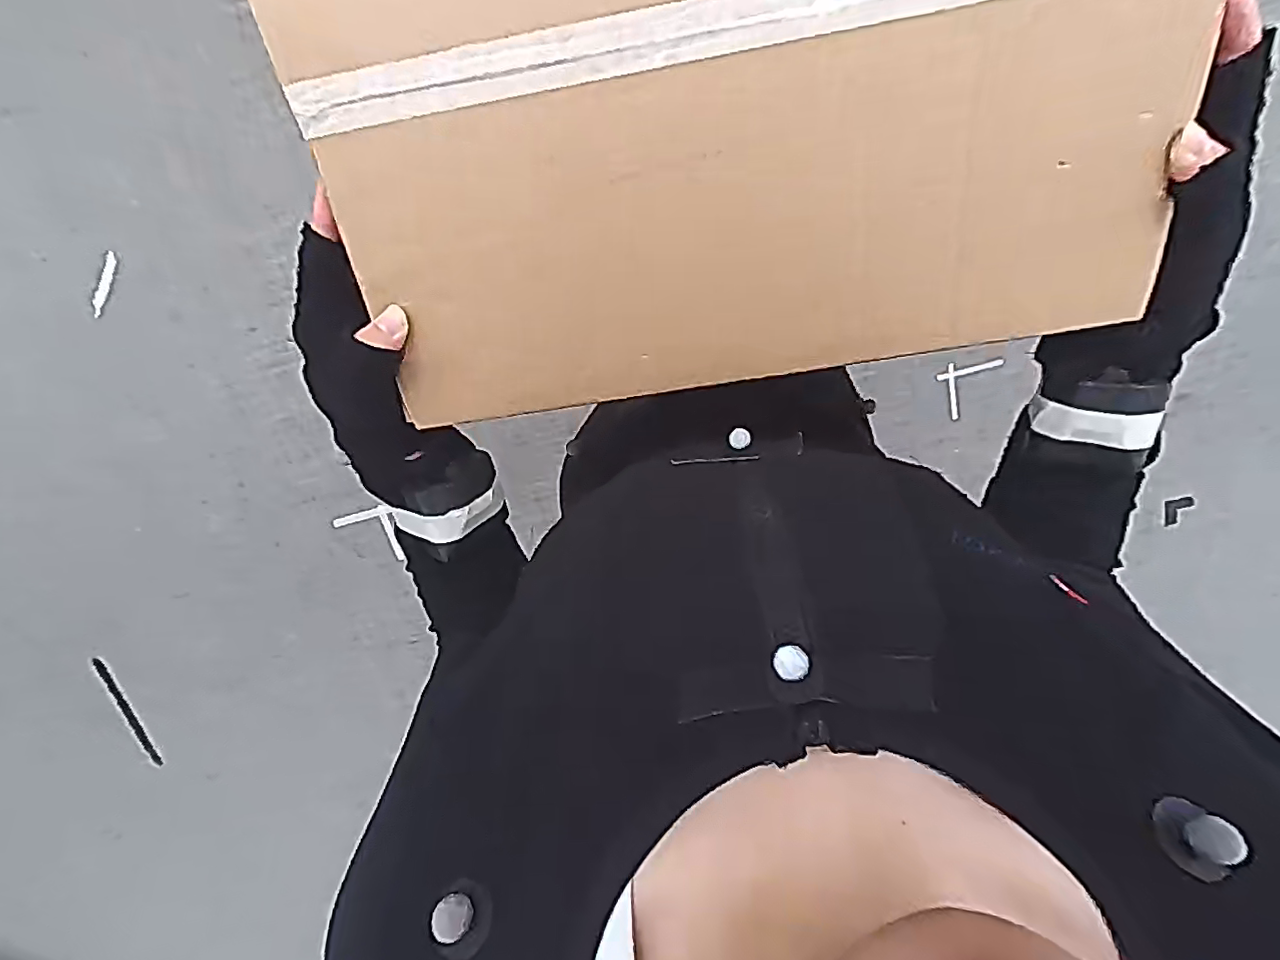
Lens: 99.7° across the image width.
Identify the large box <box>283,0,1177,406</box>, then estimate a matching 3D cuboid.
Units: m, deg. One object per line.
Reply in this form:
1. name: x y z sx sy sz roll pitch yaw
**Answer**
1. large box: 0.039 -0.272 0.381 0.408 0.320 0.320 -8 116 4
